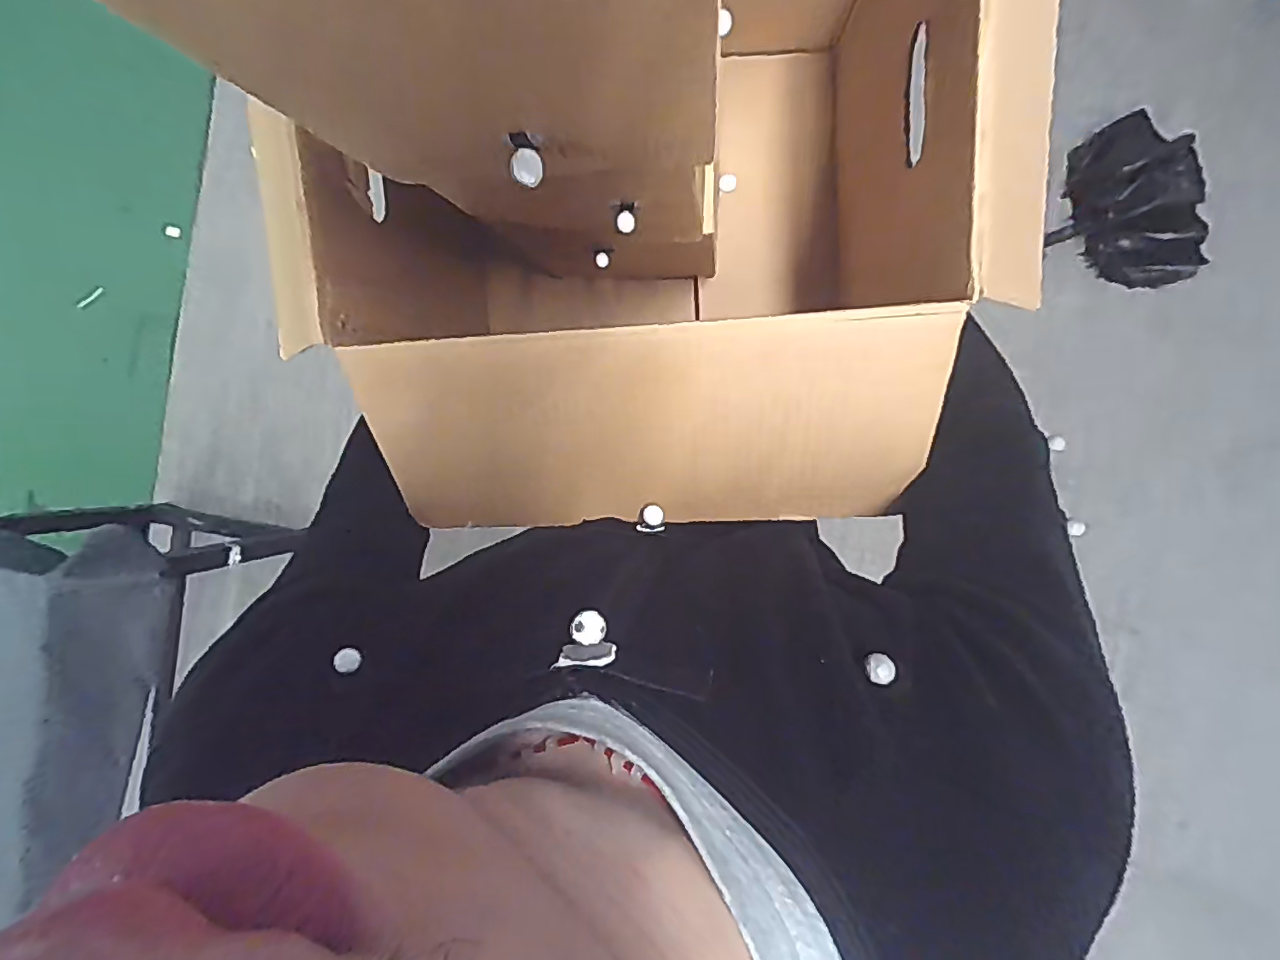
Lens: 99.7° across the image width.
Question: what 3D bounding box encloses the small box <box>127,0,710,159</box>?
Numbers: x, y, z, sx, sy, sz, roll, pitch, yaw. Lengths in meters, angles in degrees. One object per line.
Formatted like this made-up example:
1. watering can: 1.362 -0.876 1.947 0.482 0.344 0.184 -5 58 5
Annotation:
1. small box: -0.062 -0.228 0.179 0.179 0.176 0.168 1 101 7
